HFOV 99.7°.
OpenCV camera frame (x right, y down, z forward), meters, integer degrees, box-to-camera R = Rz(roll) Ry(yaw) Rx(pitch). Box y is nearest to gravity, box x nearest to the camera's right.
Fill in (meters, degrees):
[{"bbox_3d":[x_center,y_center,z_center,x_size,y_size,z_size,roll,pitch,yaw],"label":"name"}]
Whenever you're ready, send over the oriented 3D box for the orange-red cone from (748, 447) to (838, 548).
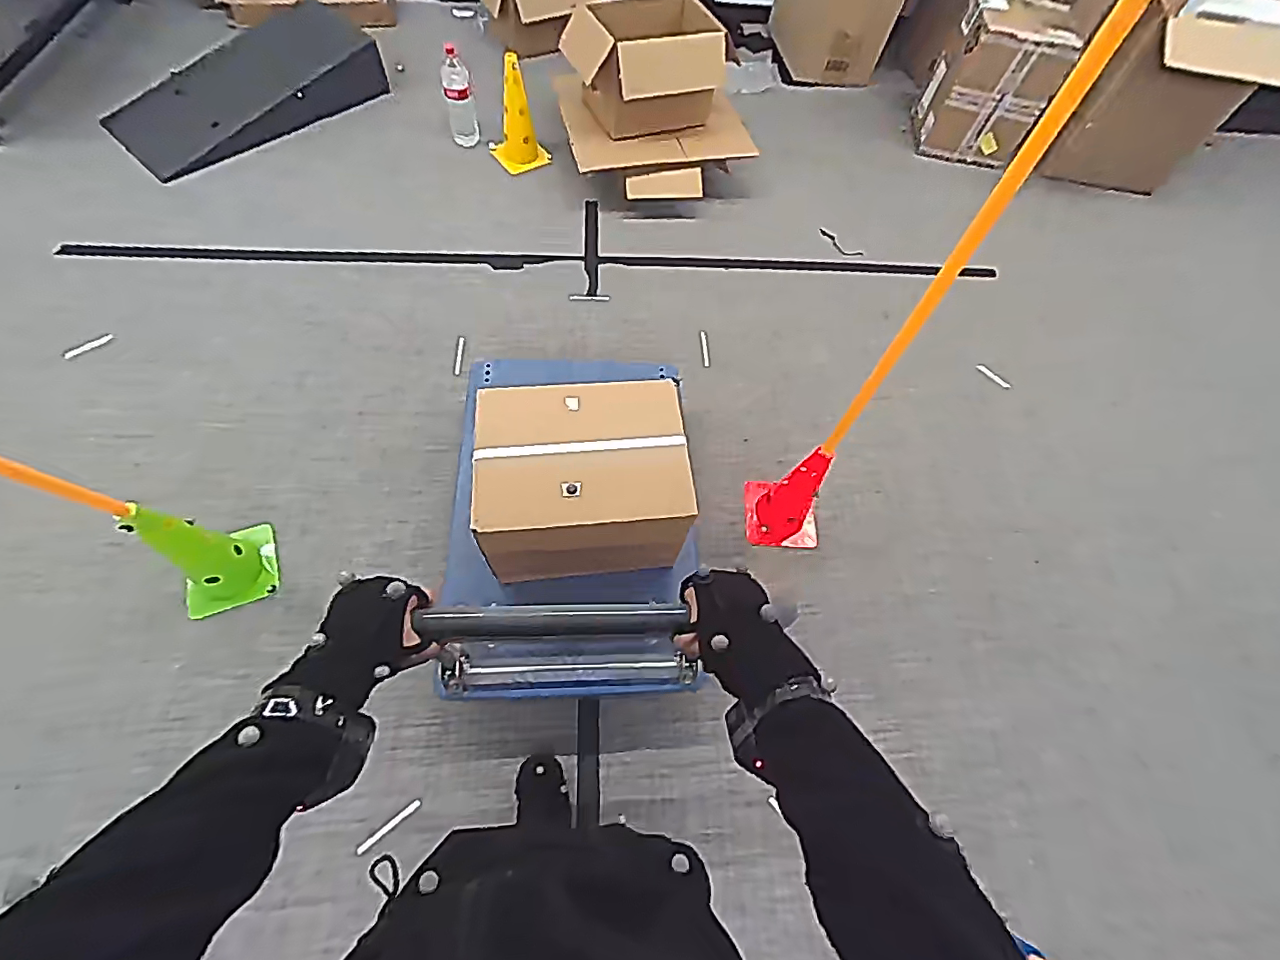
[{"bbox_3d":[0.421,0.018,1.390,0.199,0.360,0.198,6,62,-4],"label":"orange-red cone"}]
